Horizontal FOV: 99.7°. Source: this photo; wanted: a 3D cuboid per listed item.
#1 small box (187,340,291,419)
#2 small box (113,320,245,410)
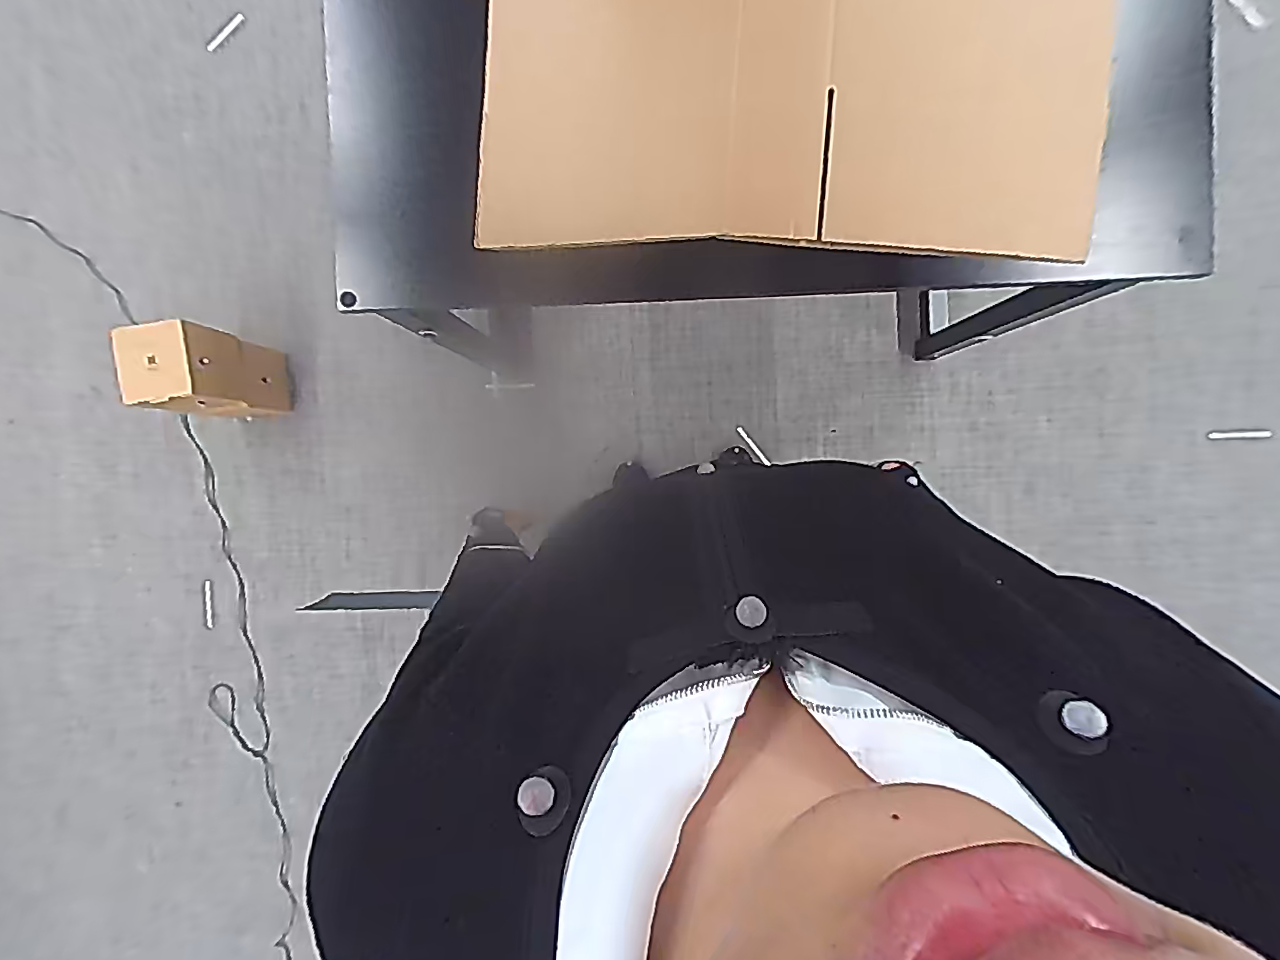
[{"bbox_3d":[-1.079,-0.265,1.453,0.168,0.176,0.179,-6,92,3],"label":"small box"},{"bbox_3d":[-1.087,-0.265,1.291,0.168,0.176,0.179,-9,91,2],"label":"small box"}]
